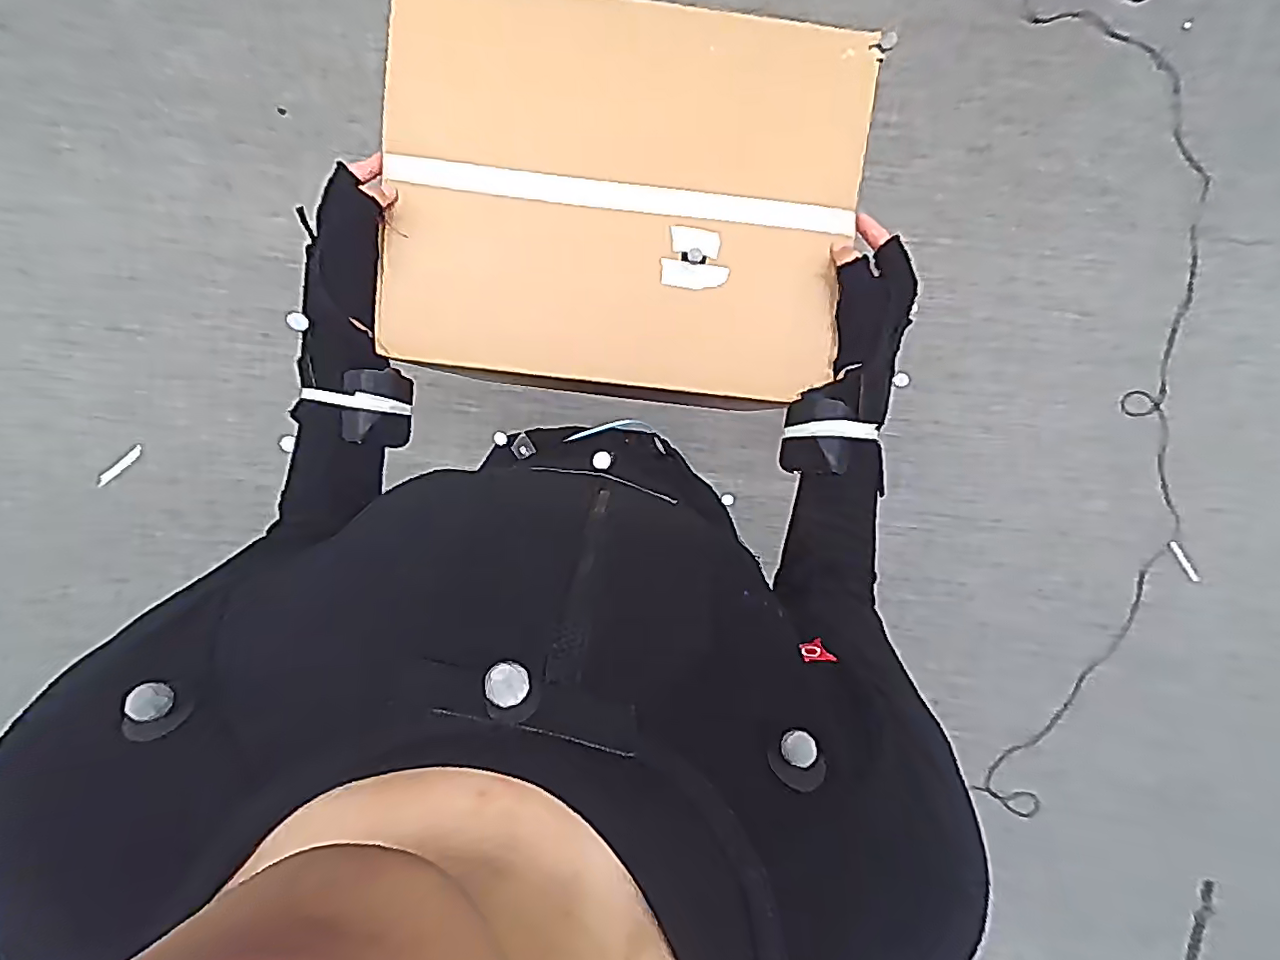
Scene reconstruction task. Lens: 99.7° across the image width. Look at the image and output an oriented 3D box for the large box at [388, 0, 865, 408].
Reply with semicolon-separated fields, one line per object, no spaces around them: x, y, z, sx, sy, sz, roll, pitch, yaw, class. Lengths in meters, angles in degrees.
-0.023;-0.257;0.622;0.408;0.320;0.320;6;98;-3;large box
